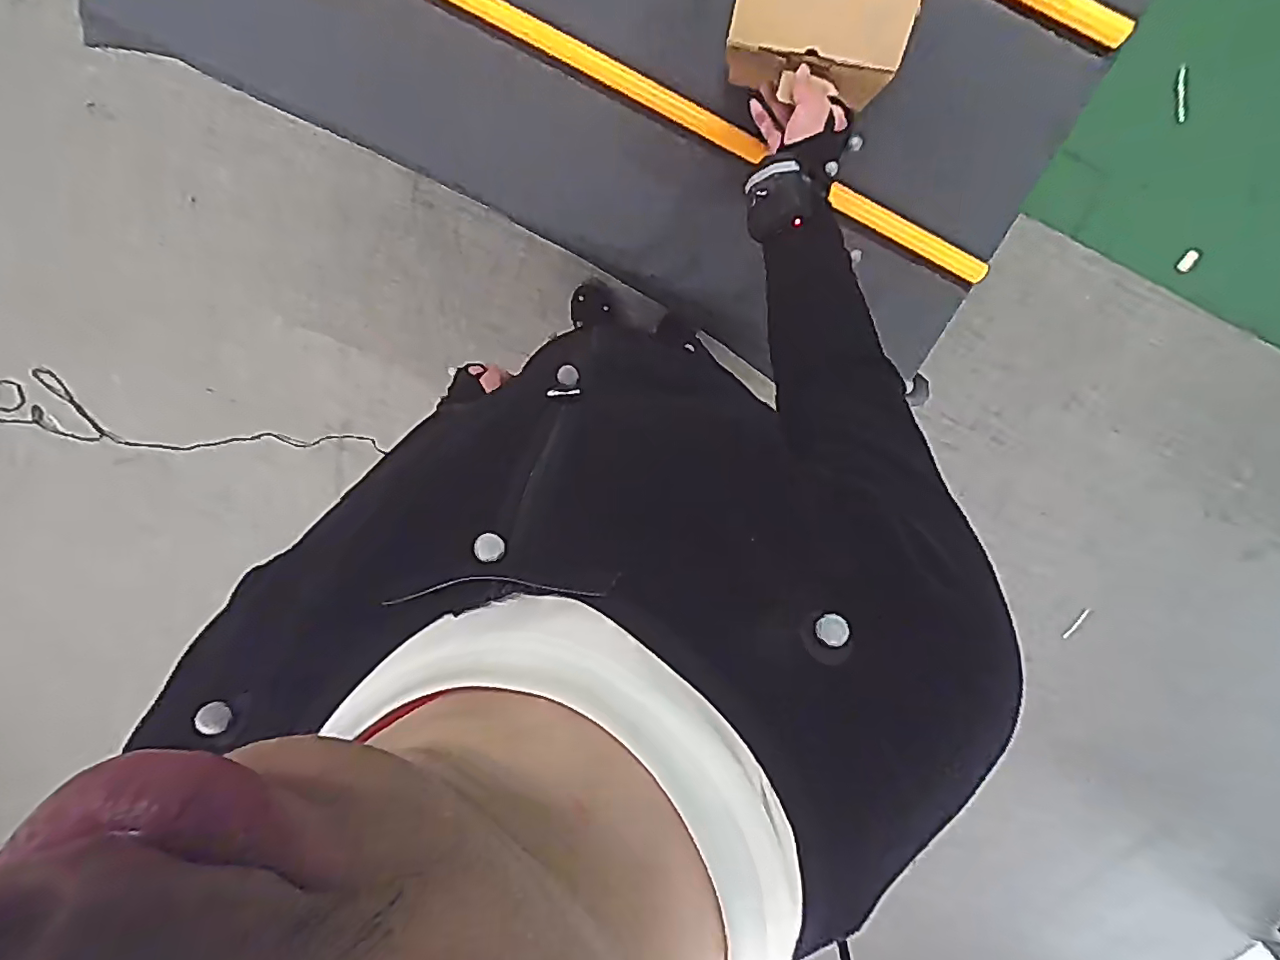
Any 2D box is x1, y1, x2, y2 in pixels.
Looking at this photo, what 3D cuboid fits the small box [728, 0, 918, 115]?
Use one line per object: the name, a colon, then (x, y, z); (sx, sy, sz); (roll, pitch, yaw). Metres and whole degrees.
small box: (0.196, -0.503, 0.564); (0.168, 0.176, 0.179); (12, 116, 8)
